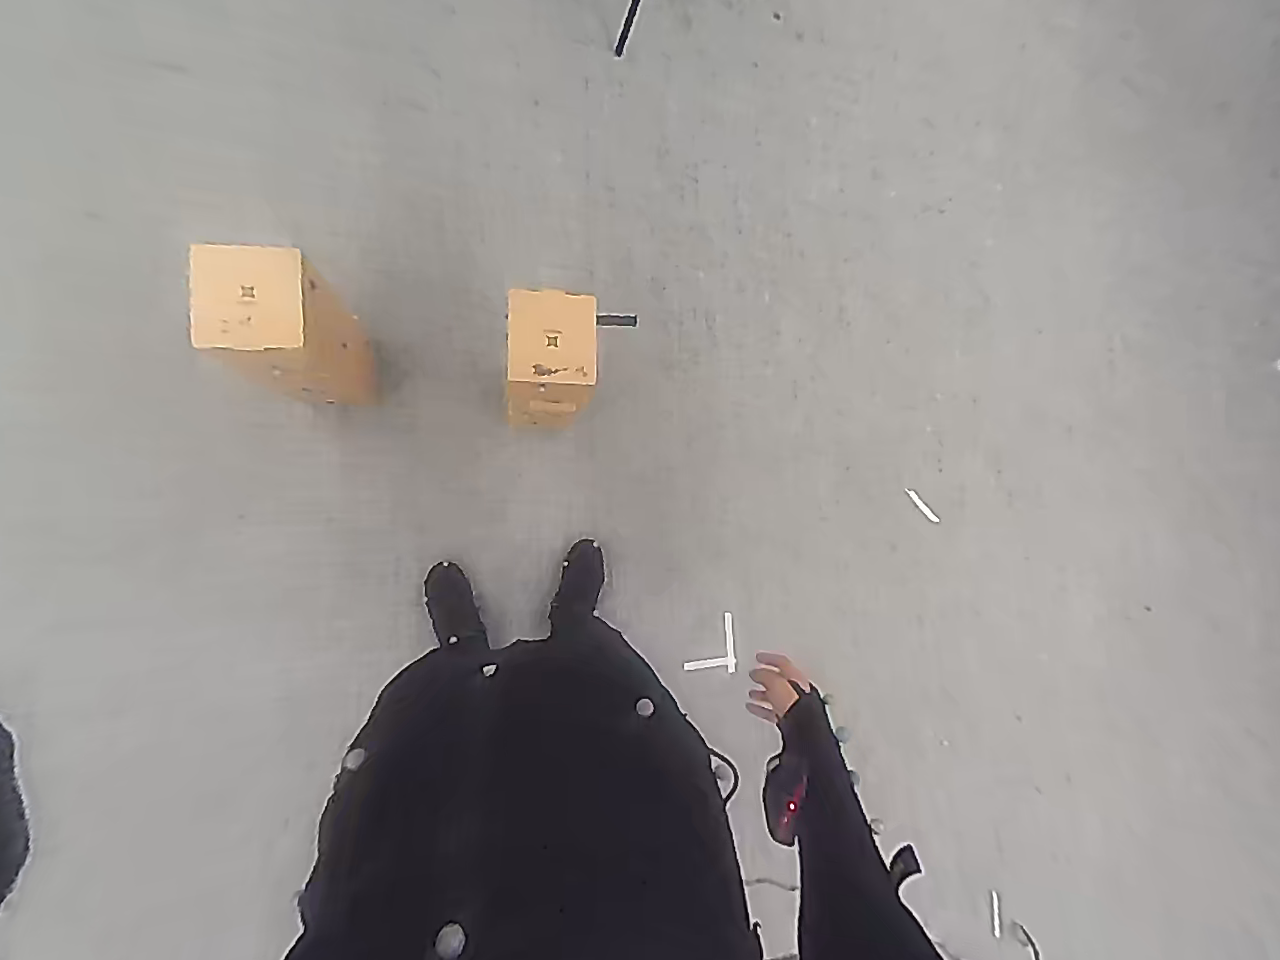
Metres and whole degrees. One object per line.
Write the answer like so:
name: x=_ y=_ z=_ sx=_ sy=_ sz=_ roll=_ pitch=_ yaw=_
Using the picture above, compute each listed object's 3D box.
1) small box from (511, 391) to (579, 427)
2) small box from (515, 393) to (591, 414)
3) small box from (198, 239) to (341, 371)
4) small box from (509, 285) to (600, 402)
small box: x=-0.249 y=-0.241 z=1.409 sx=0.168 sy=0.176 sz=0.179 roll=2 pitch=86 yaw=-14
small box: x=-0.203 y=-0.253 z=1.252 sx=0.168 sy=0.176 sz=0.179 roll=1 pitch=86 yaw=-14
small box: x=-0.655 y=-0.306 z=0.974 sx=0.168 sy=0.176 sz=0.179 roll=-2 pitch=87 yaw=-12
small box: x=-0.176 y=-0.265 z=1.089 sx=0.168 sy=0.176 sz=0.179 roll=1 pitch=85 yaw=-14
